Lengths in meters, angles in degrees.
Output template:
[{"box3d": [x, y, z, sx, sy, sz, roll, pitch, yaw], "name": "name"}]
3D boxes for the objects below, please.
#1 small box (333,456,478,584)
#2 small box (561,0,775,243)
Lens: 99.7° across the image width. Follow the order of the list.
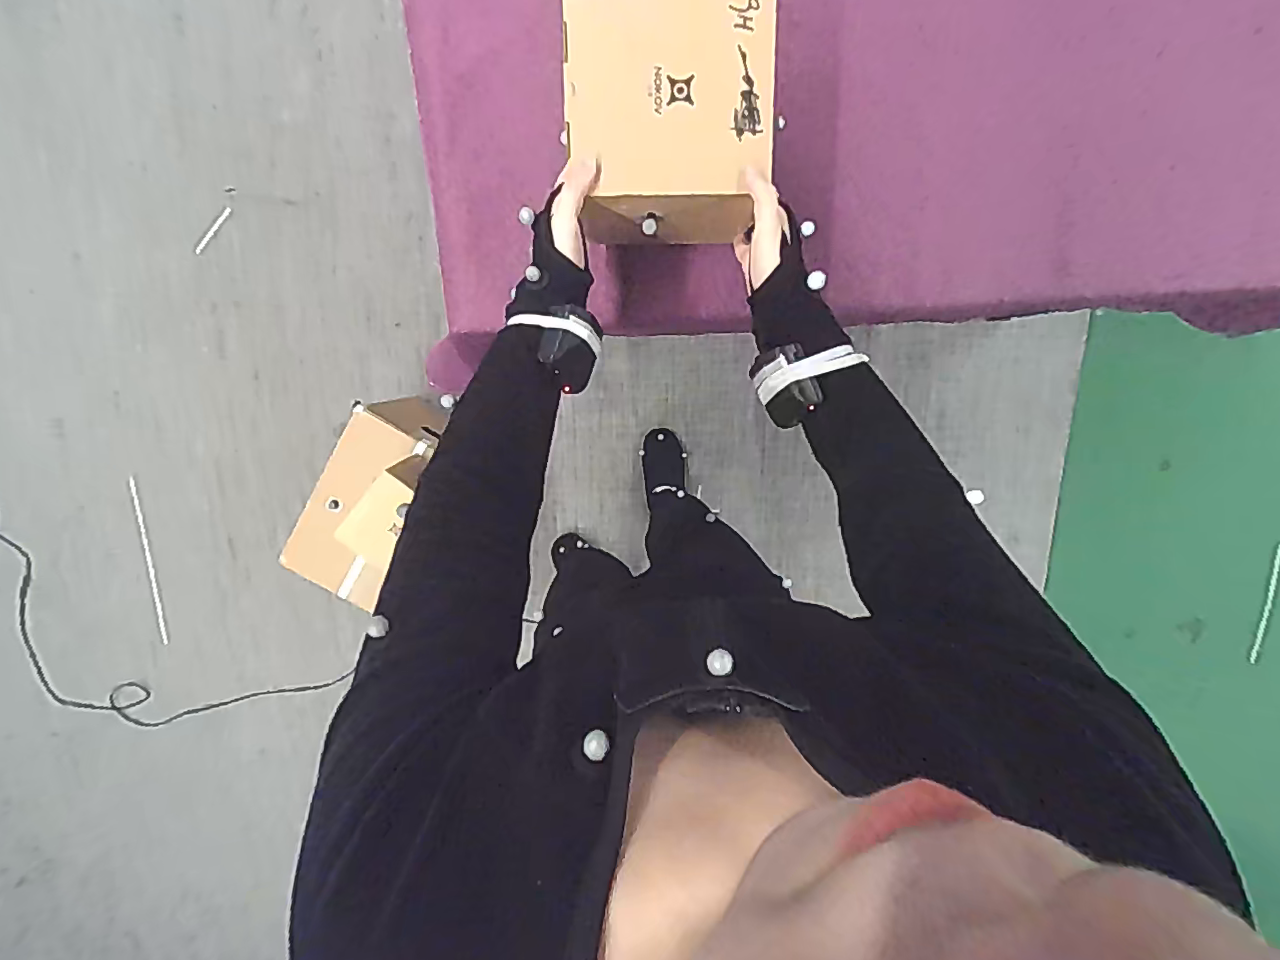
[{"box3d": [-0.452, 0.068, 1.073, 0.179, 0.176, 0.168, 40, 98, -13], "name": "small box"}, {"box3d": [0.025, -0.338, 0.530, 0.179, 0.176, 0.168, 0, 101, 1], "name": "small box"}]
